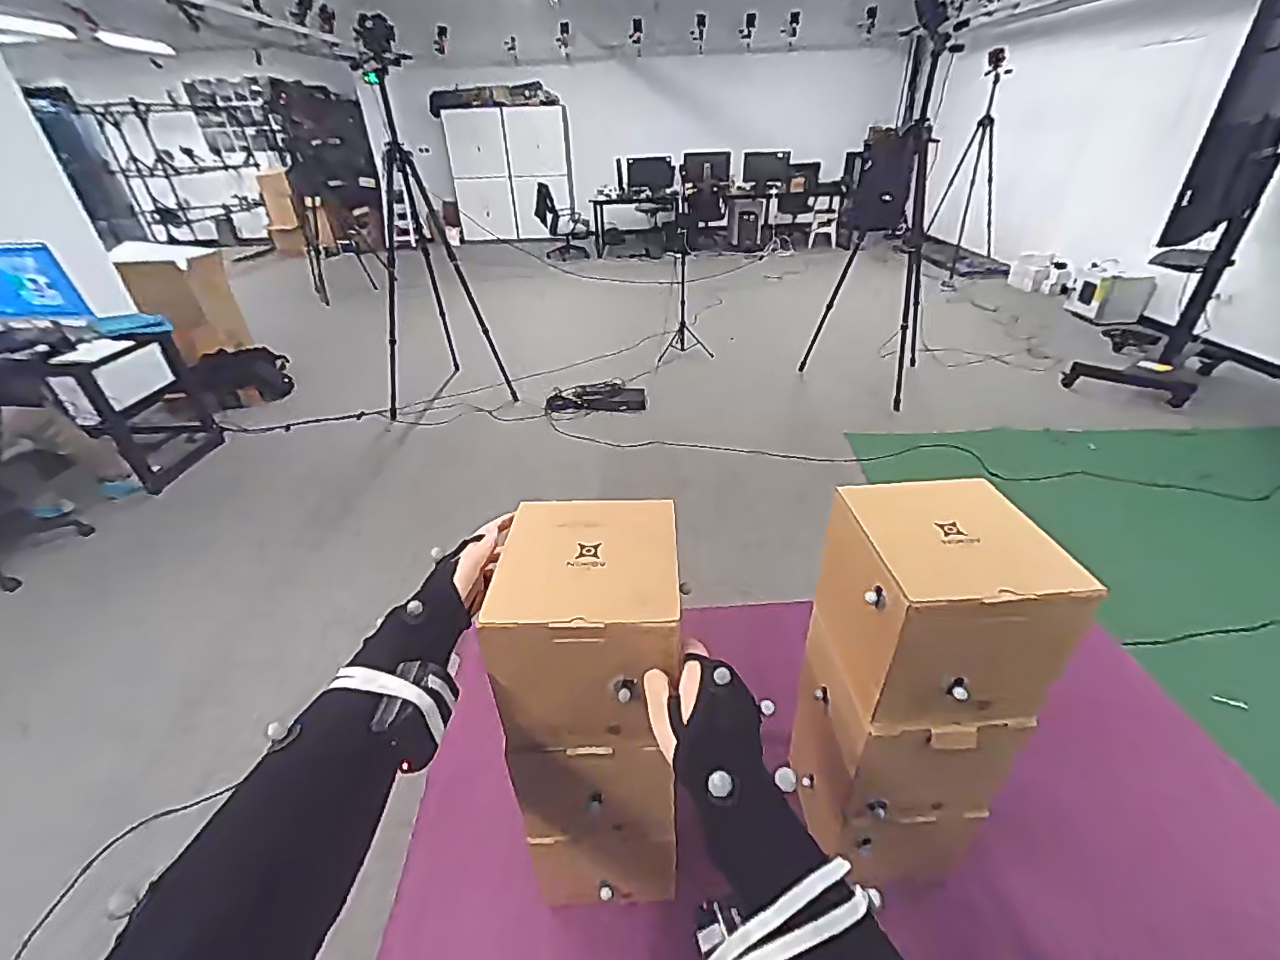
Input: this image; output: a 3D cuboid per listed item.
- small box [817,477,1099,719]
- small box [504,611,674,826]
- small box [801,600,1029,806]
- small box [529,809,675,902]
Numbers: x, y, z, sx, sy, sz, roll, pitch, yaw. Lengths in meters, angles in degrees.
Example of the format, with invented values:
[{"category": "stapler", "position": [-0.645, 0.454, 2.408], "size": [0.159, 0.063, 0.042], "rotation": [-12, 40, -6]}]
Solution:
[{"category": "small box", "position": [0.295, 0.115, 0.555], "size": [0.168, 0.176, 0.179], "rotation": [-4, 33, -2]}, {"category": "small box", "position": [-0.048, 0.277, 0.628], "size": [0.168, 0.176, 0.179], "rotation": [-2, 33, 0]}, {"category": "small box", "position": [0.299, 0.257, 0.635], "size": [0.168, 0.176, 0.179], "rotation": [-3, 32, -1]}, {"category": "small box", "position": [-0.041, 0.417, 0.713], "size": [0.168, 0.176, 0.179], "rotation": [-3, 33, 0]}]
